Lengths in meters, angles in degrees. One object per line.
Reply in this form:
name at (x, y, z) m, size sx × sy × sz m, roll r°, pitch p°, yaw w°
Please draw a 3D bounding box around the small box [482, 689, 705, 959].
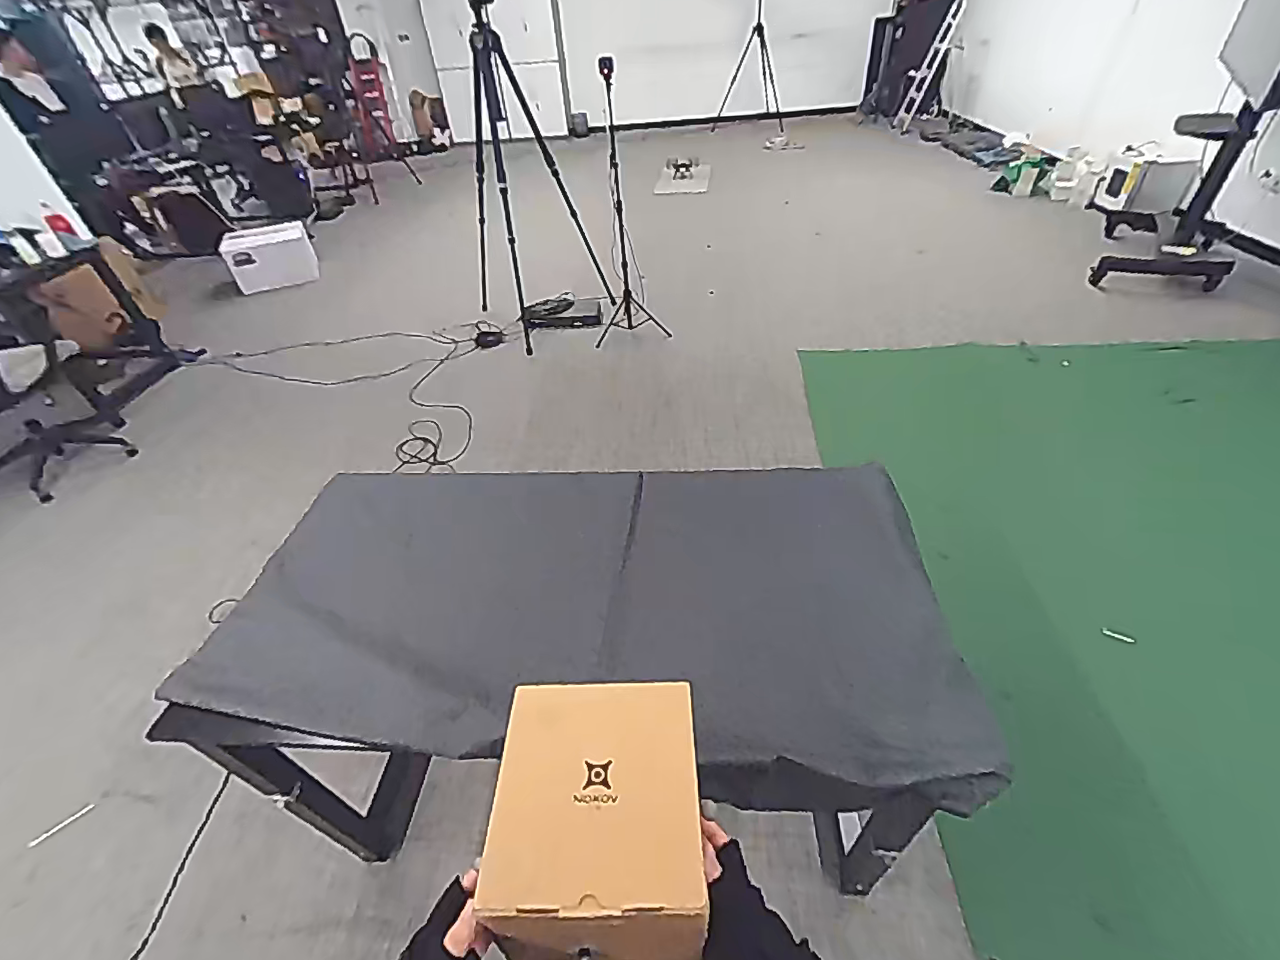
small box at (-0.032, 0.319, 0.503) m, size 0.168 × 0.176 × 0.179 m, roll -1°, pitch 39°, yaw 1°
